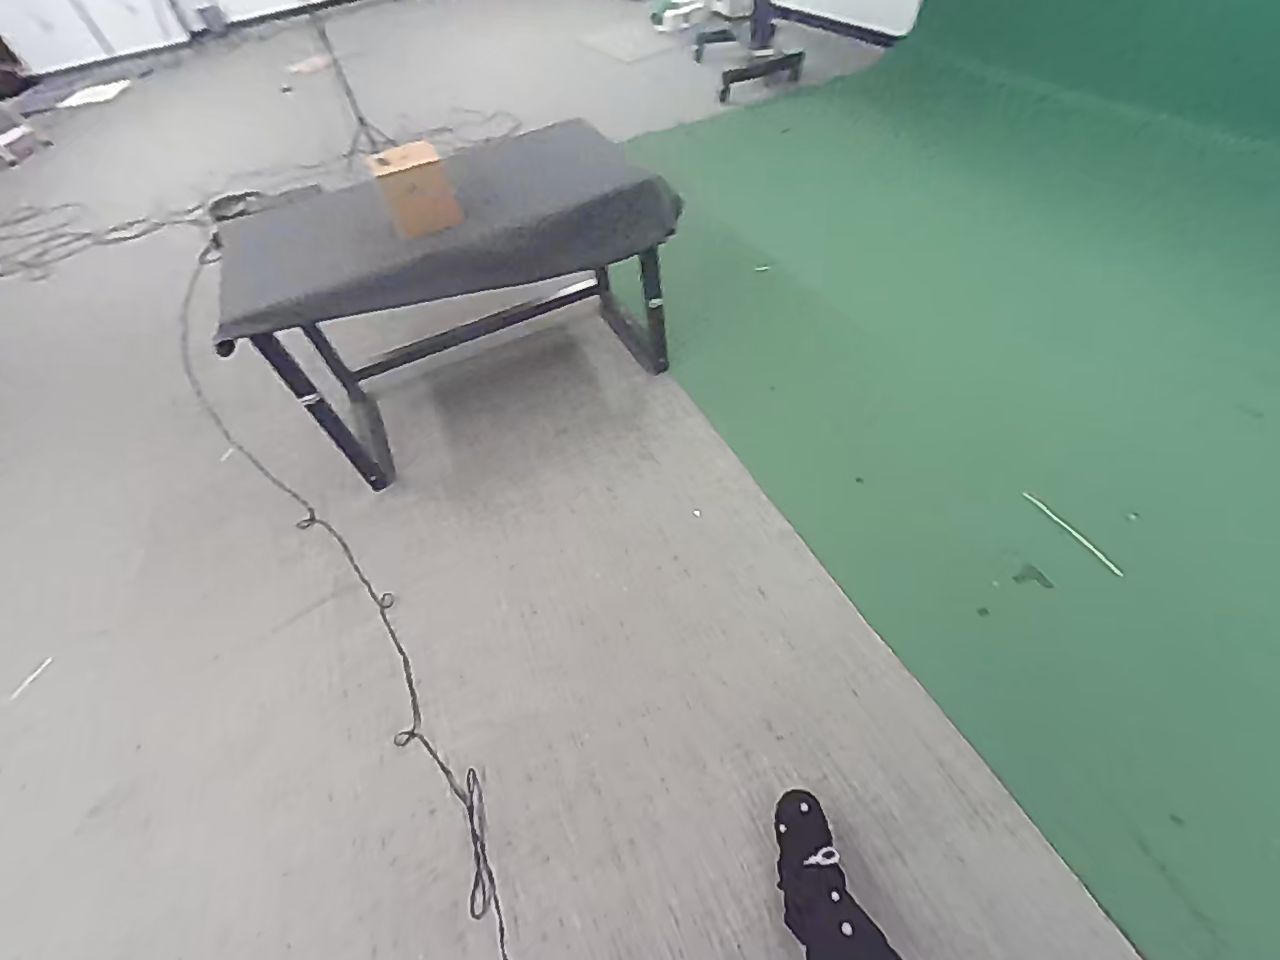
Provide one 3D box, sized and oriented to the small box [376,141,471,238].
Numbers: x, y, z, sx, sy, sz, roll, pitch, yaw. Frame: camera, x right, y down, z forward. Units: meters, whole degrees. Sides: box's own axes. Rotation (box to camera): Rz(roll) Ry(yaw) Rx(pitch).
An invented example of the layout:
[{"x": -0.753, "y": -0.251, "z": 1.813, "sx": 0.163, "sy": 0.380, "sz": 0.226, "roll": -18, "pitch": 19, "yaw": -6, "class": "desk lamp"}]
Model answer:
[{"x": -0.589, "y": -0.791, "z": 1.483, "sx": 0.179, "sy": 0.176, "sz": 0.168, "roll": -25, "pitch": 53, "yaw": -11, "class": "small box"}]
